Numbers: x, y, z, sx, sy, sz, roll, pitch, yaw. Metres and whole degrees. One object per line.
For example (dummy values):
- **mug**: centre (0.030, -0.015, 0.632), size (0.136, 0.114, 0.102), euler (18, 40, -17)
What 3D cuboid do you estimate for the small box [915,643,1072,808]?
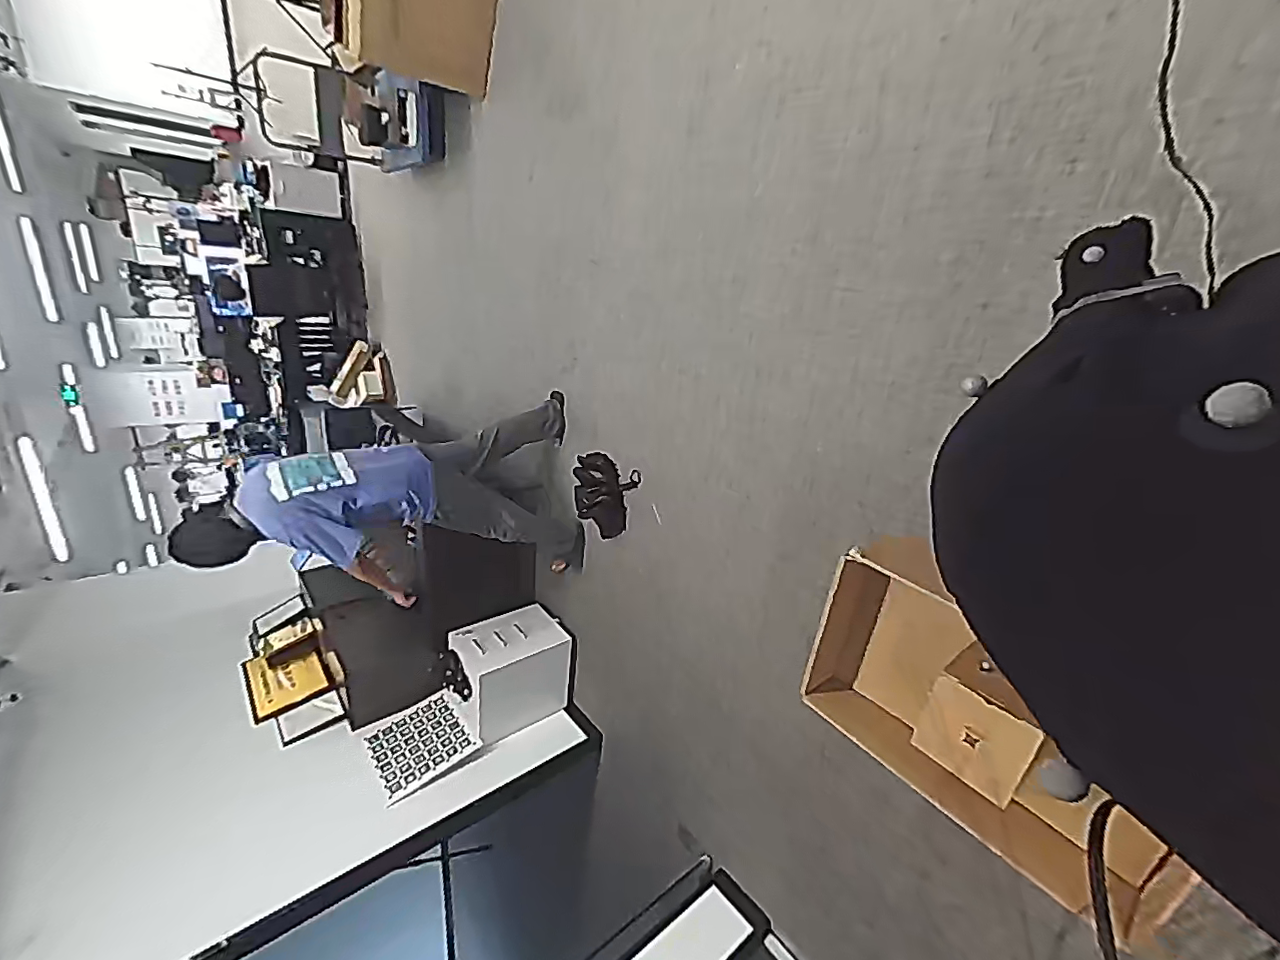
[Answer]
- **small box**: centre (0.632, 0.425, 0.967), size (0.168, 0.176, 0.179), euler (30, 125, 45)
